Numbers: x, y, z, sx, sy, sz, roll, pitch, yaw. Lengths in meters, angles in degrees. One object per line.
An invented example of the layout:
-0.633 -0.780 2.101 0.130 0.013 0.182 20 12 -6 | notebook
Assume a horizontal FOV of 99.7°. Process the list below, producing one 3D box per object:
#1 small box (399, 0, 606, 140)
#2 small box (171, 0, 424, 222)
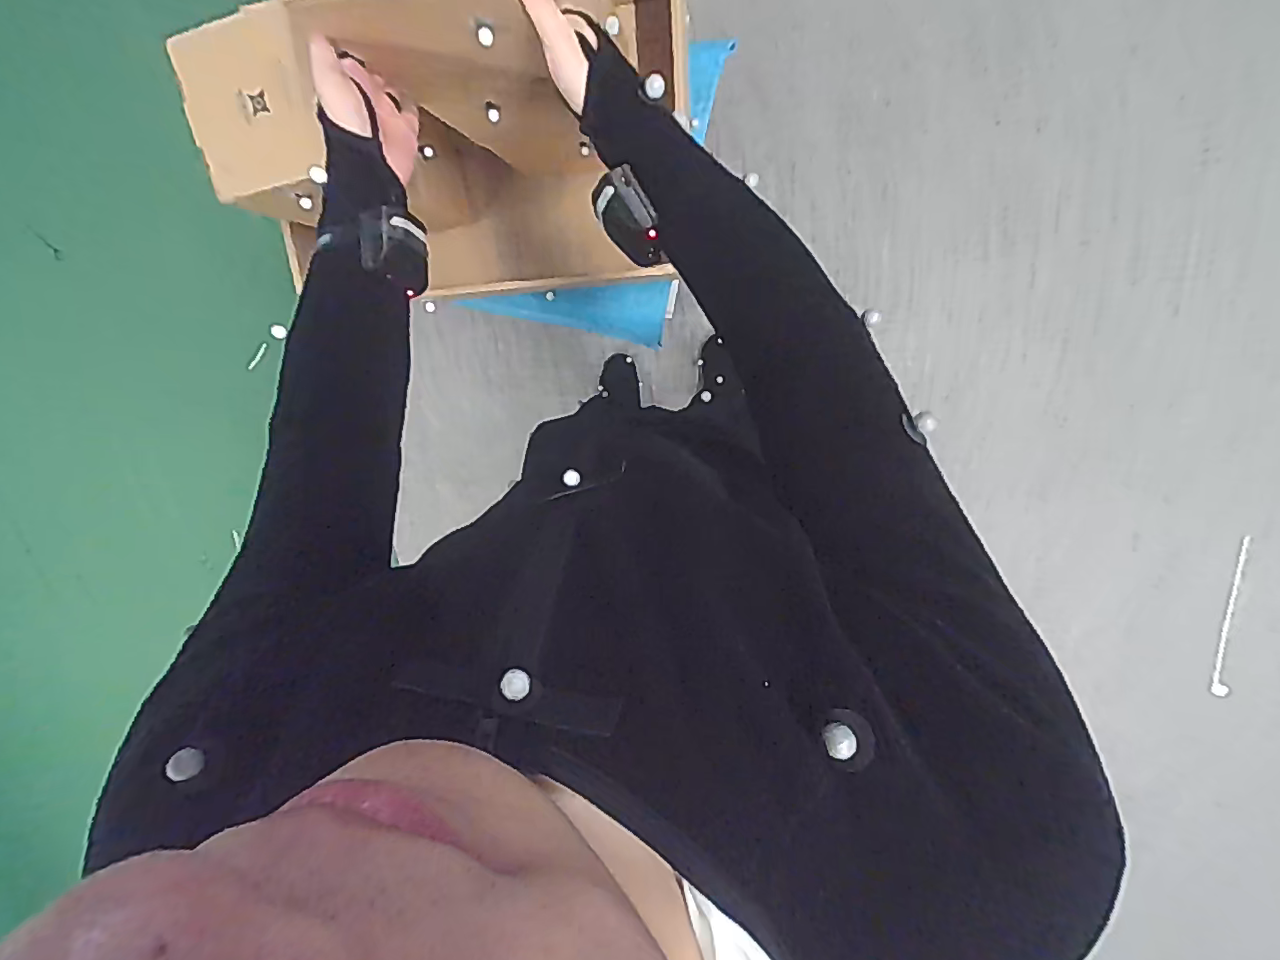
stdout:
-0.142 -0.496 0.599 0.179 0.176 0.168 2 107 9 | small box
-0.402 -0.432 0.665 0.179 0.176 0.168 -6 104 10 | small box
